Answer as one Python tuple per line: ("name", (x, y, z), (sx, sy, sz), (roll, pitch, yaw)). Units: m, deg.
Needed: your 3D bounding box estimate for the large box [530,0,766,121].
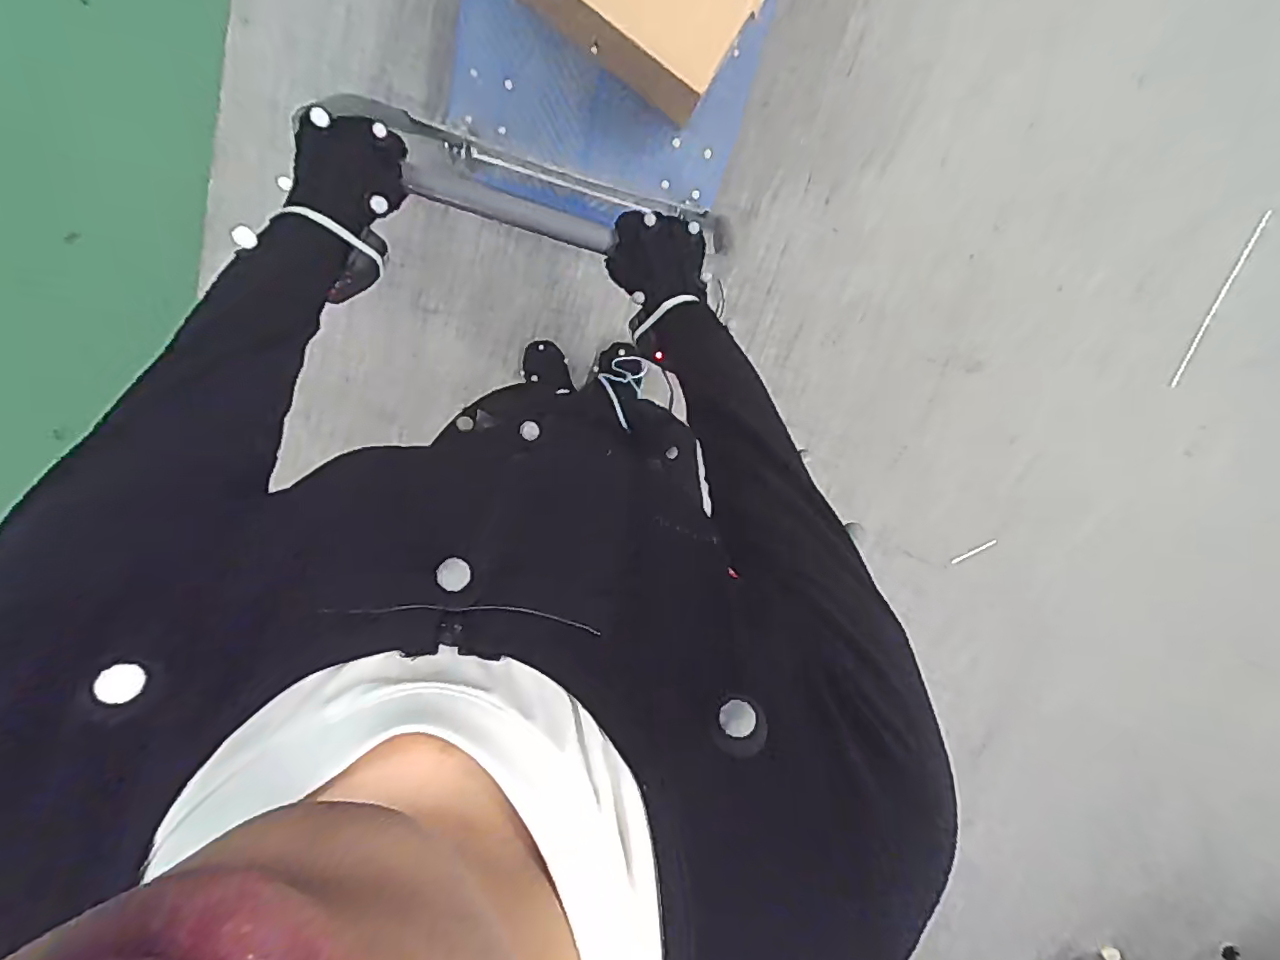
("large box", (0.022, -0.874, 0.877), (0.408, 0.320, 0.320), (30, 111, -13))
